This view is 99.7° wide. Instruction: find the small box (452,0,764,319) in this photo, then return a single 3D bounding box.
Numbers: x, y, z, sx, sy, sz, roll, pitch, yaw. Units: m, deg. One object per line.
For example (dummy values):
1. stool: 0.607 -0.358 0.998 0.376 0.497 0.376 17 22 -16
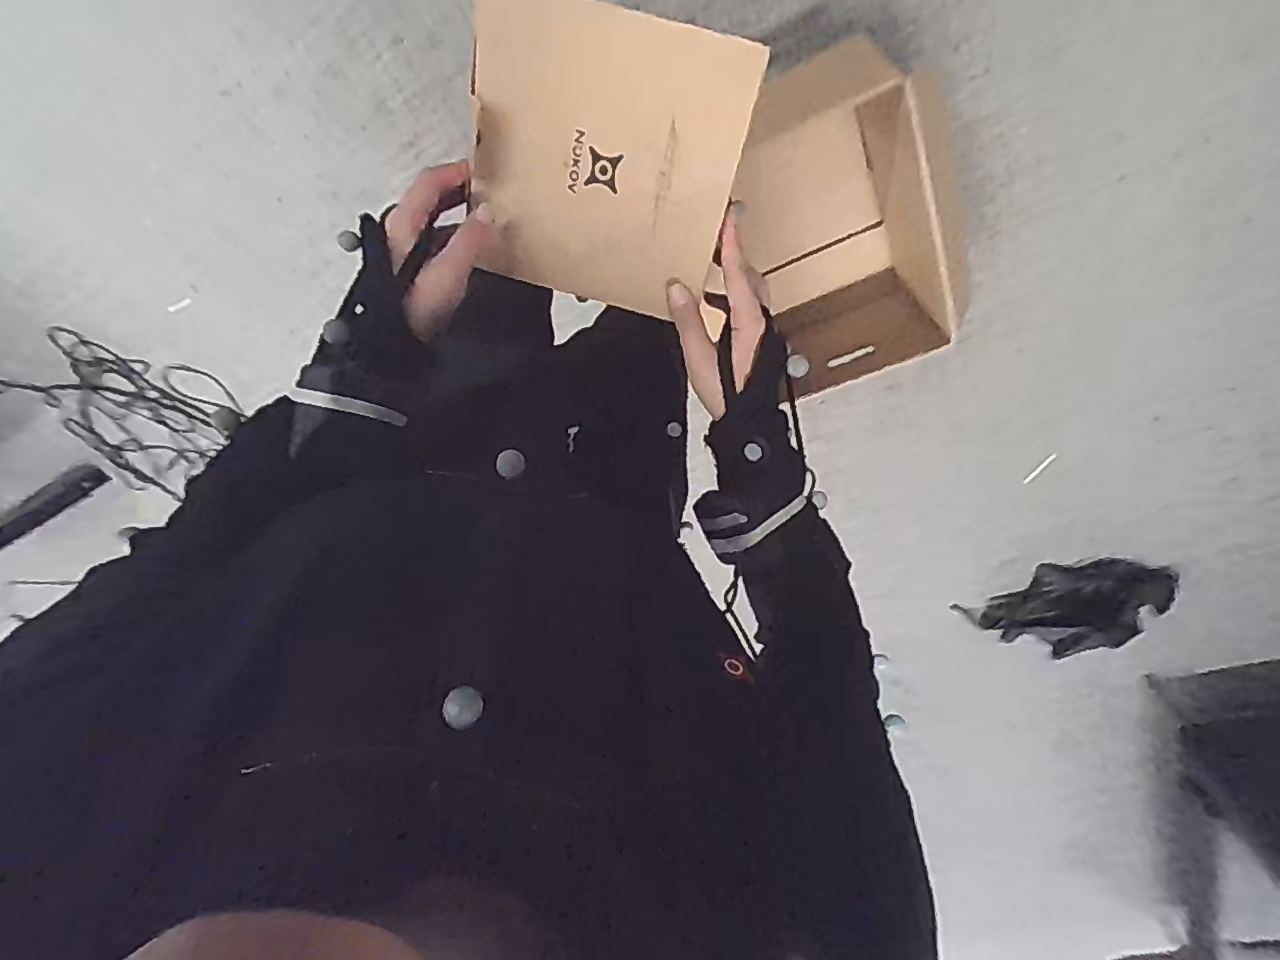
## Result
1. small box: -0.022 -0.242 0.408 0.179 0.176 0.168 14 123 -1
